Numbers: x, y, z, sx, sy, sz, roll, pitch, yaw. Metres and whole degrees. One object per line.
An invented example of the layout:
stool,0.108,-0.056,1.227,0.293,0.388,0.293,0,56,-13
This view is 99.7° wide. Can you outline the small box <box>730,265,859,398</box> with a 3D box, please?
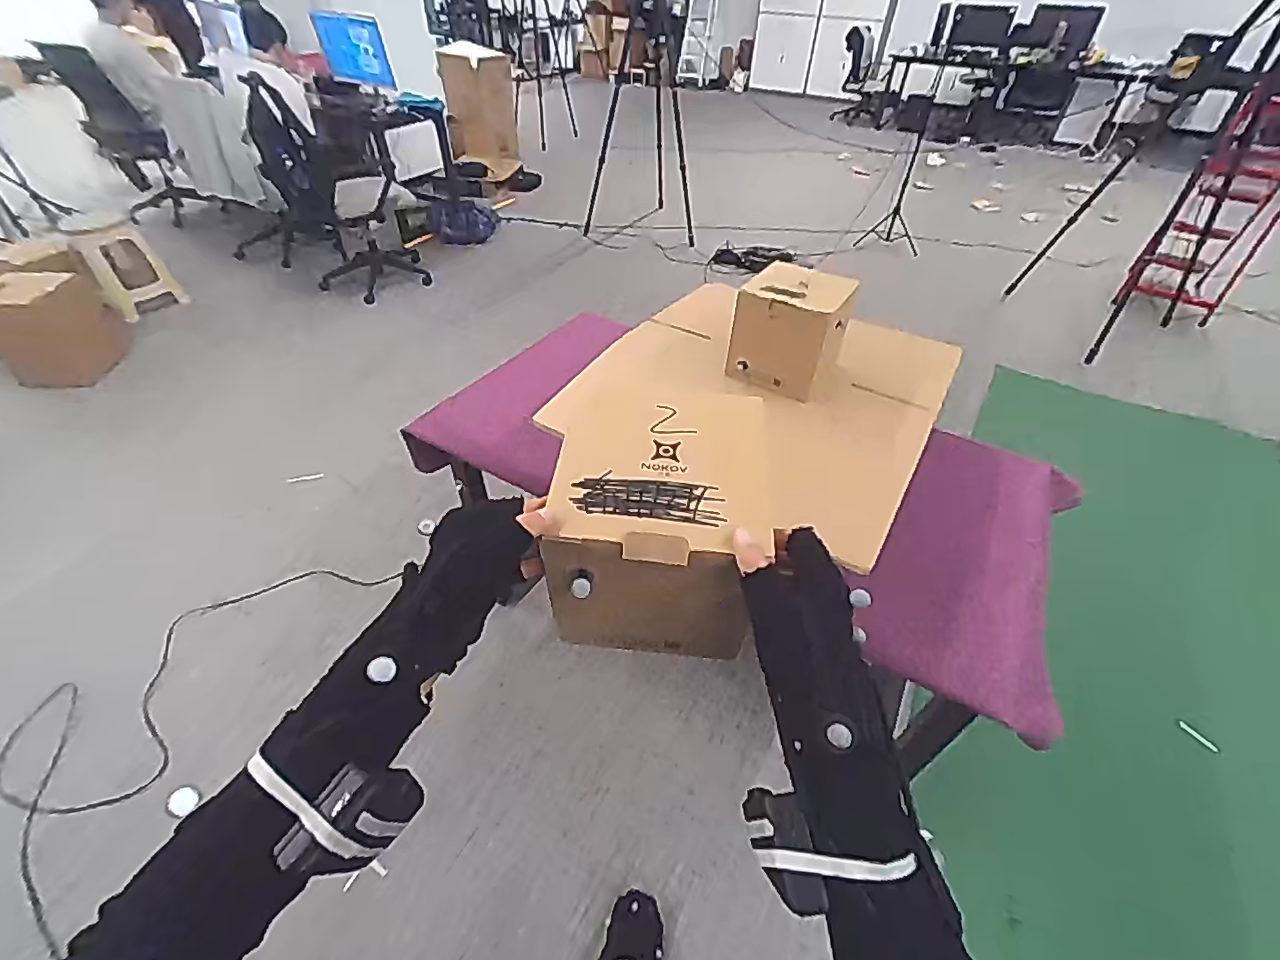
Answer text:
small box,0.279,-0.275,1.003,0.168,0.176,0.179,25,46,22
